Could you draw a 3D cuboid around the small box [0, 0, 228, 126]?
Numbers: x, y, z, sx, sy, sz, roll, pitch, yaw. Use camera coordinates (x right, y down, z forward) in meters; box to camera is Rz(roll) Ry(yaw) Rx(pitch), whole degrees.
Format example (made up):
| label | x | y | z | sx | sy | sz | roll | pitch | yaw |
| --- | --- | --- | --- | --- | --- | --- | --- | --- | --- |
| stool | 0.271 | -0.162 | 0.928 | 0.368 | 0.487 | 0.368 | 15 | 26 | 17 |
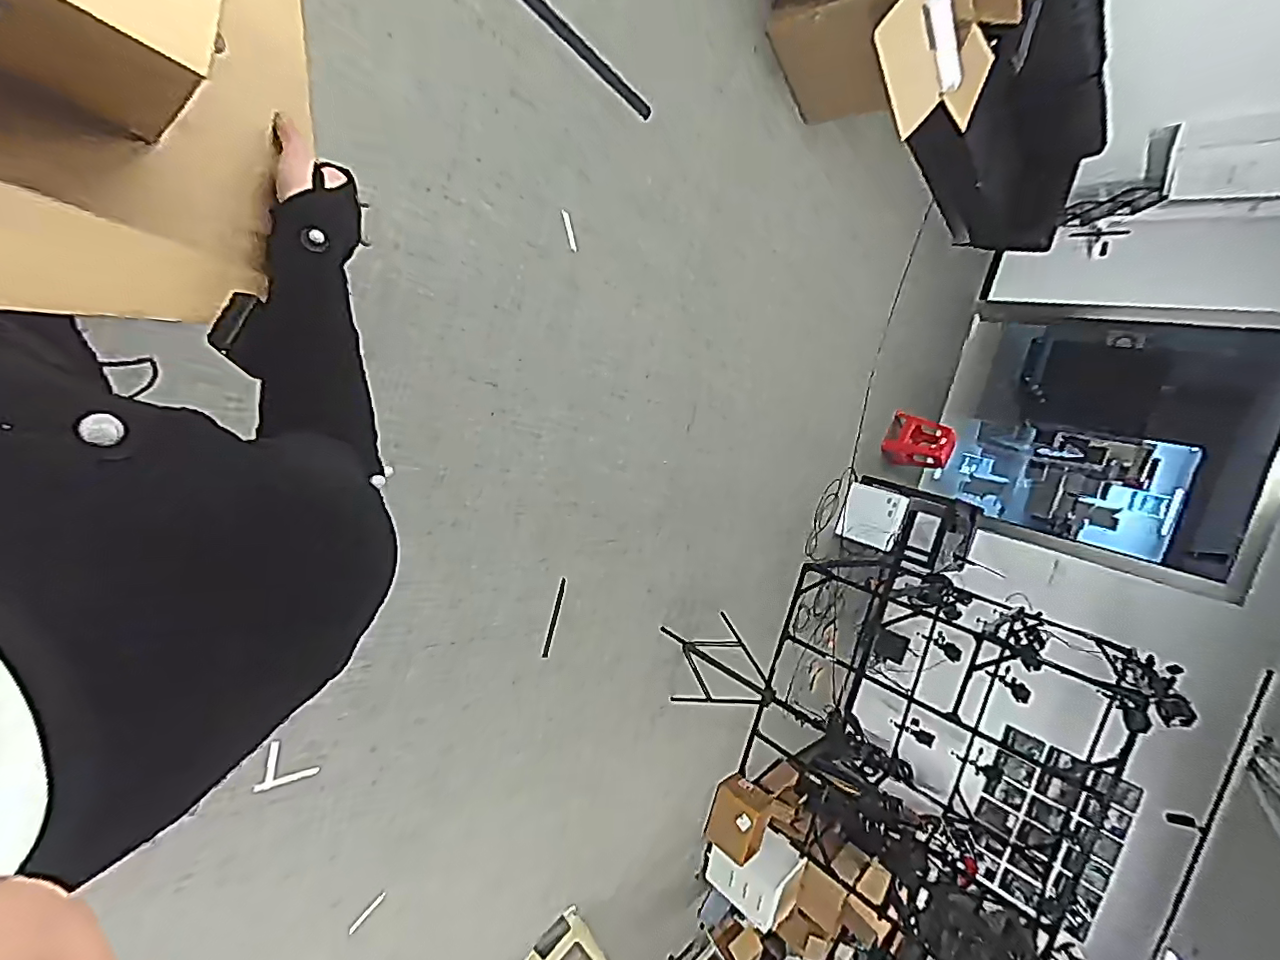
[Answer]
| label | x | y | z | sx | sy | sz | roll | pitch | yaw |
| --- | --- | --- | --- | --- | --- | --- | --- | --- | --- |
| small box | -0.384 | -0.363 | 0.344 | 0.179 | 0.176 | 0.168 | 10 | 91 | -49 |
